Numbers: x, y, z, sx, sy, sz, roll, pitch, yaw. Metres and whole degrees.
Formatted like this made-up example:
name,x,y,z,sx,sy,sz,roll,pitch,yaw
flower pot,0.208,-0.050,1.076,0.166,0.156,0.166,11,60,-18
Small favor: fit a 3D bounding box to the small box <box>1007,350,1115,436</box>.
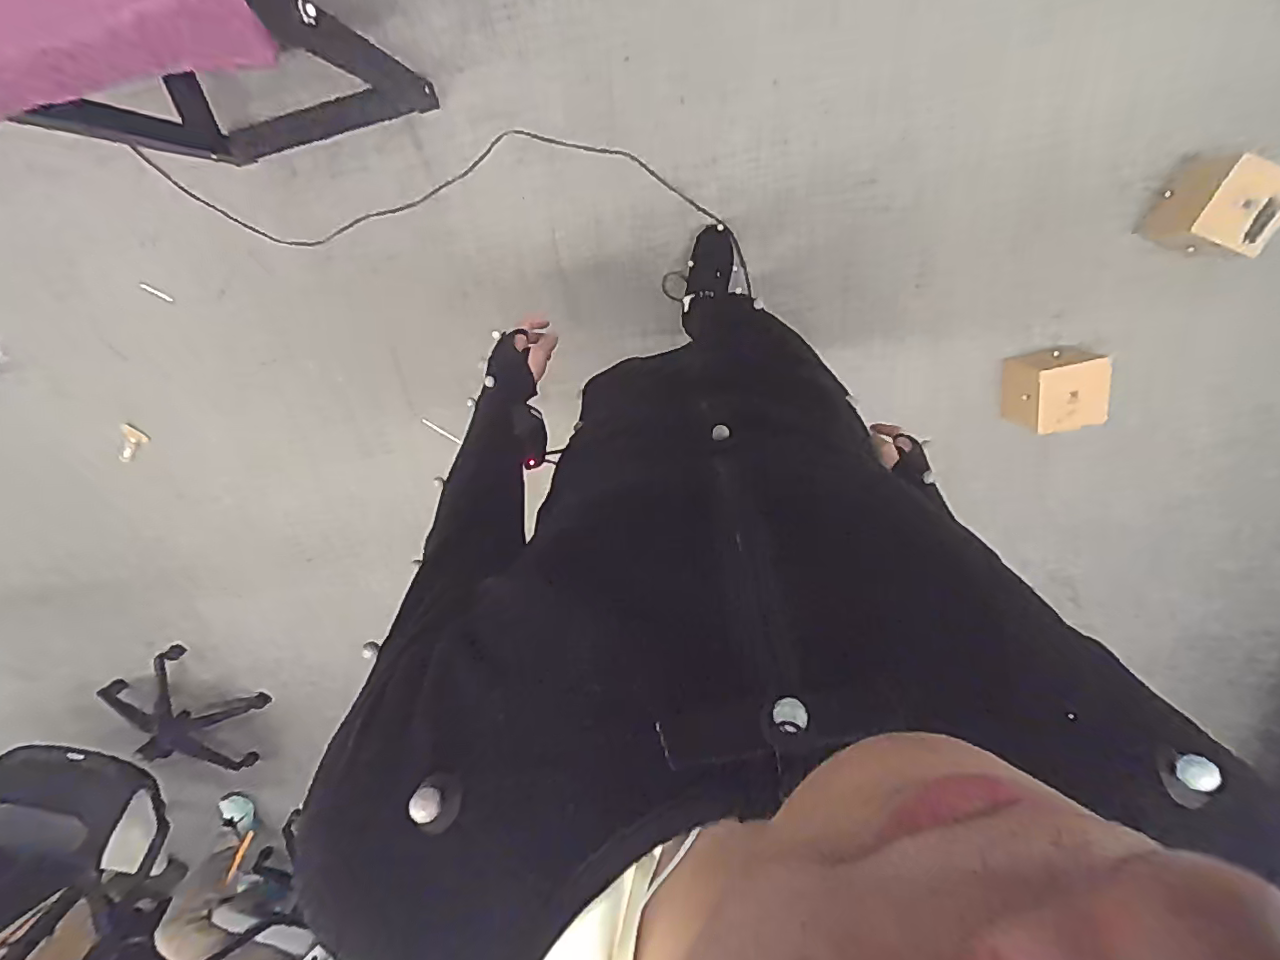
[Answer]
name,x,y,z,sx,sy,sz,roll,pitch,yaw
small box,1.101,-0.236,1.427,0.168,0.176,0.179,-11,112,9
